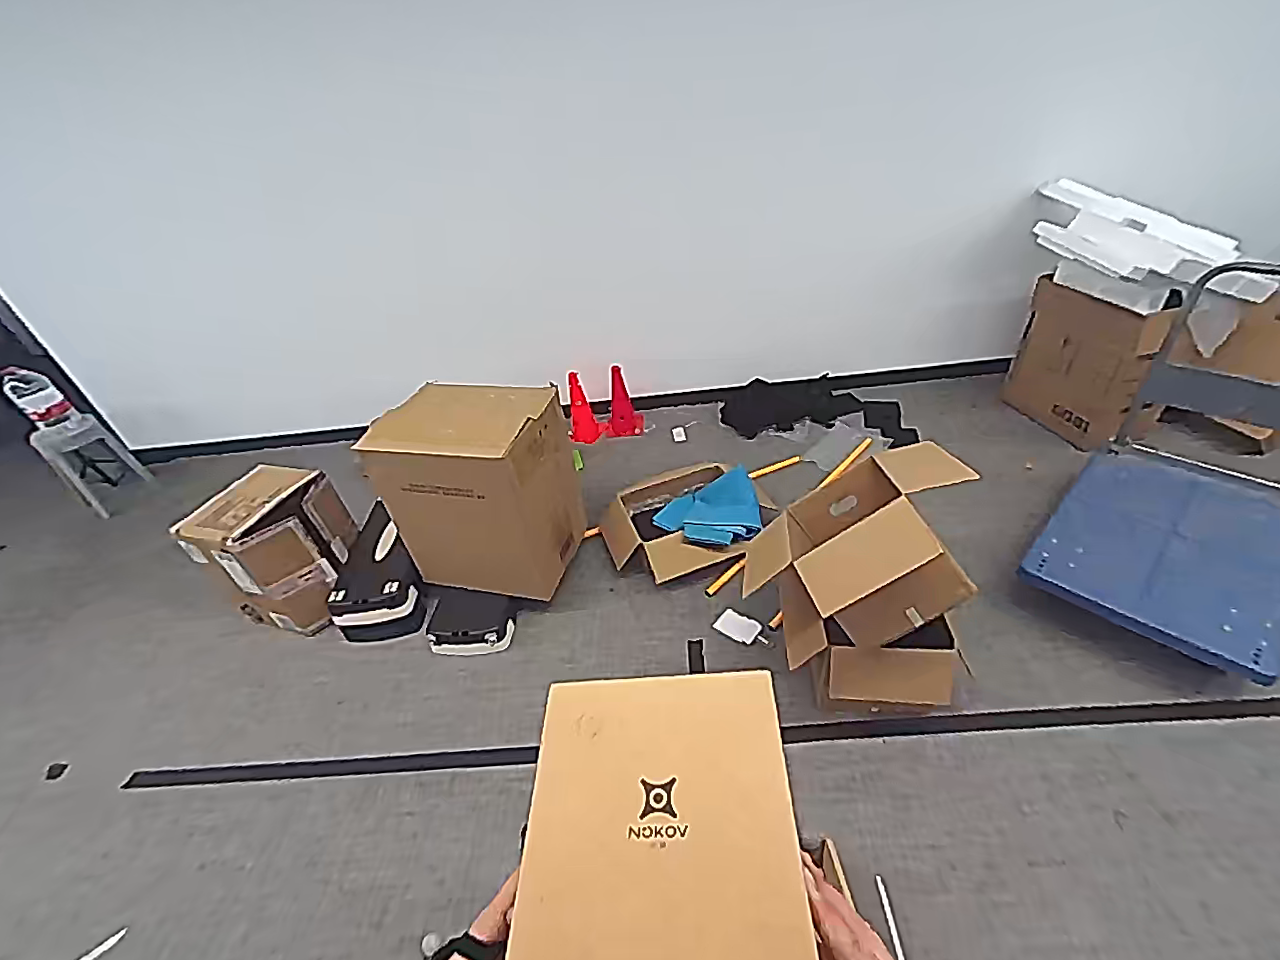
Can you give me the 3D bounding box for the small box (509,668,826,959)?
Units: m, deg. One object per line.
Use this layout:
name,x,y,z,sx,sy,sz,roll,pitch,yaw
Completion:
small box,0.025,0.259,0.384,0.168,0.176,0.179,-6,40,6
